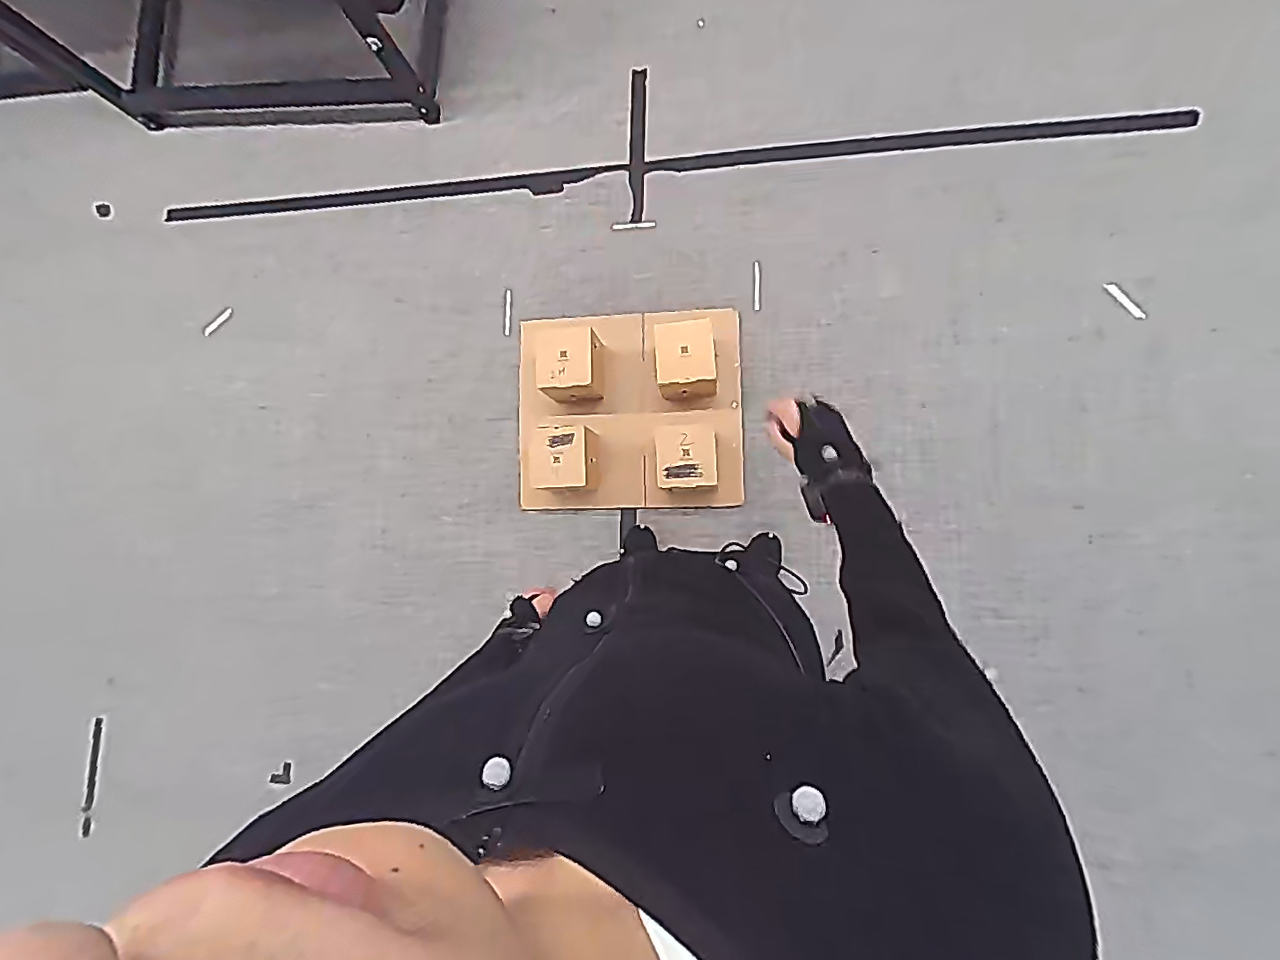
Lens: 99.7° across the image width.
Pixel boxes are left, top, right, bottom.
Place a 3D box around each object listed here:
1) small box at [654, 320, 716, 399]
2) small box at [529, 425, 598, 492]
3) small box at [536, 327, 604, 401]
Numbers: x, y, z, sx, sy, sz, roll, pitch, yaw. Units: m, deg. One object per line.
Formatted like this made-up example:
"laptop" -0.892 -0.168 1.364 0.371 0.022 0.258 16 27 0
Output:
"small box" 0.134 -0.347 1.582 0.168 0.176 0.179 -5 85 8
"small box" -0.223 -0.059 1.604 0.168 0.176 0.179 -2 86 9
"small box" -0.207 -0.343 1.624 0.168 0.176 0.179 -2 85 9
